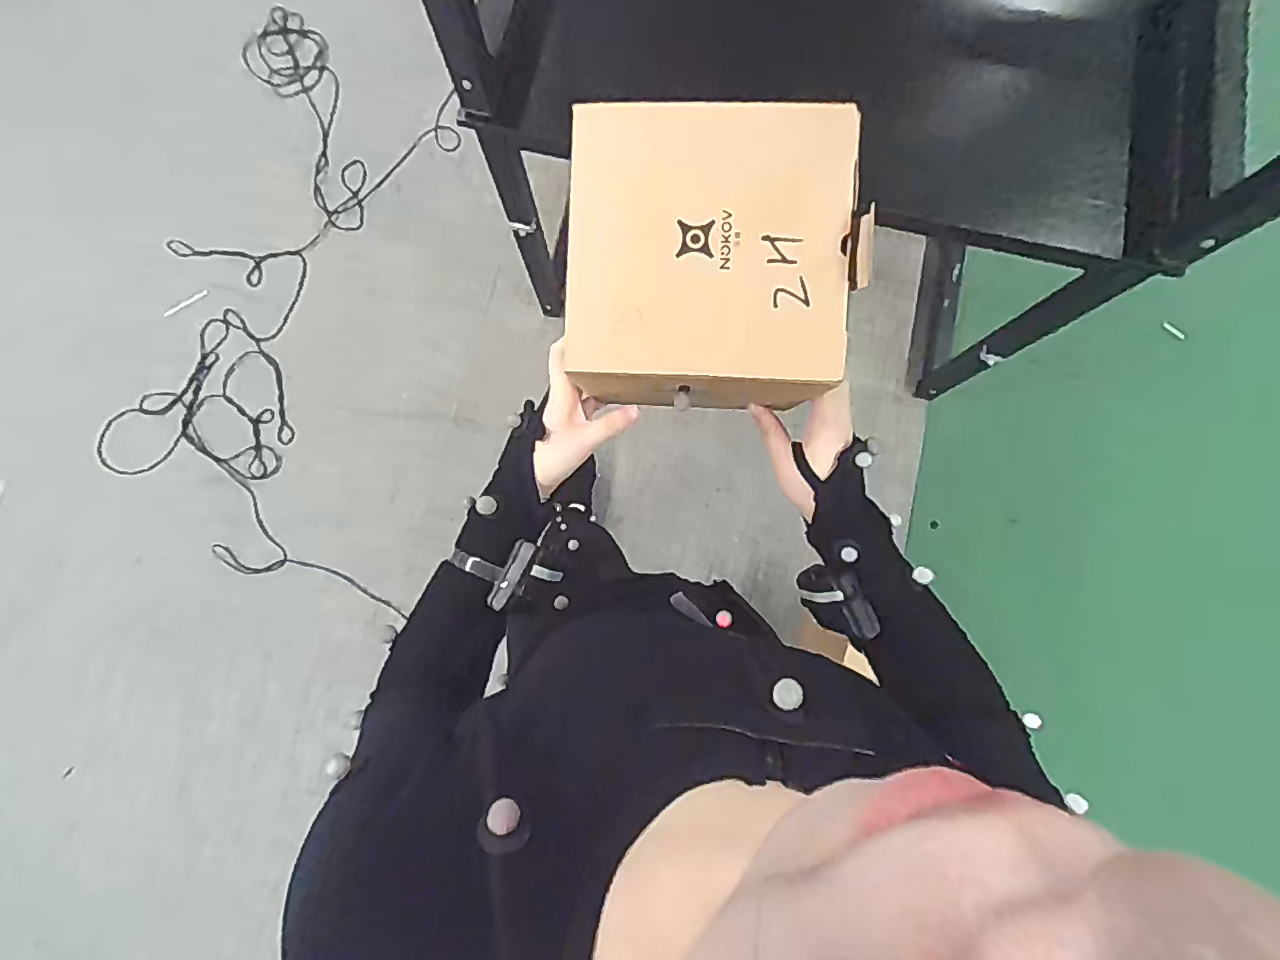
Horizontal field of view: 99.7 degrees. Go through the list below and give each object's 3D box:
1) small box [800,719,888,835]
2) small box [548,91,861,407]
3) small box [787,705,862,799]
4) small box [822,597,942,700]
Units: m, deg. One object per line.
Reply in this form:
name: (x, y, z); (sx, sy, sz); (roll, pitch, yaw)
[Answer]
small box: (0.462, 0.638, 1.184); (0.168, 0.176, 0.179); (-7, 82, 1)
small box: (0.040, -0.144, 0.395); (0.179, 0.176, 0.168); (3, 93, 3)
small box: (0.471, 0.673, 1.342); (0.168, 0.176, 0.179); (6, 82, 2)
small box: (0.537, 0.372, 1.224); (0.179, 0.176, 0.168); (19, 81, 3)
